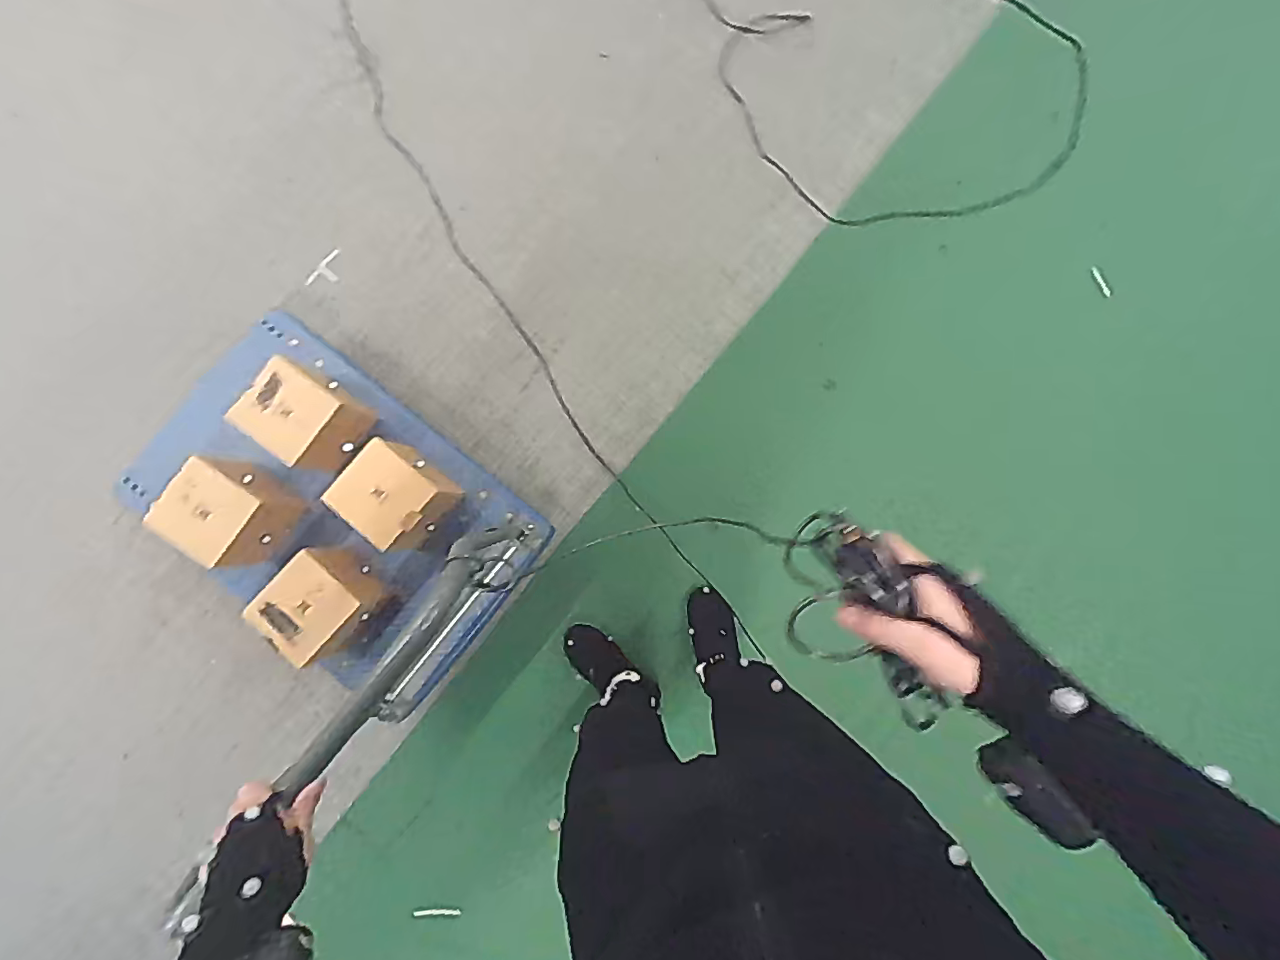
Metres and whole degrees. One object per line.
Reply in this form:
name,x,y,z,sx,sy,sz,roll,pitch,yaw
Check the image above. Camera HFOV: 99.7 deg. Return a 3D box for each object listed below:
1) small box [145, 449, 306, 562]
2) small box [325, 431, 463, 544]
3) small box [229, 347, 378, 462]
small box,-0.871,0.053,1.158,0.179,0.176,0.168,35,86,2
small box,-0.519,0.021,1.166,0.179,0.176,0.168,40,87,1
small box,-0.716,-0.152,1.171,0.179,0.176,0.168,37,88,1
